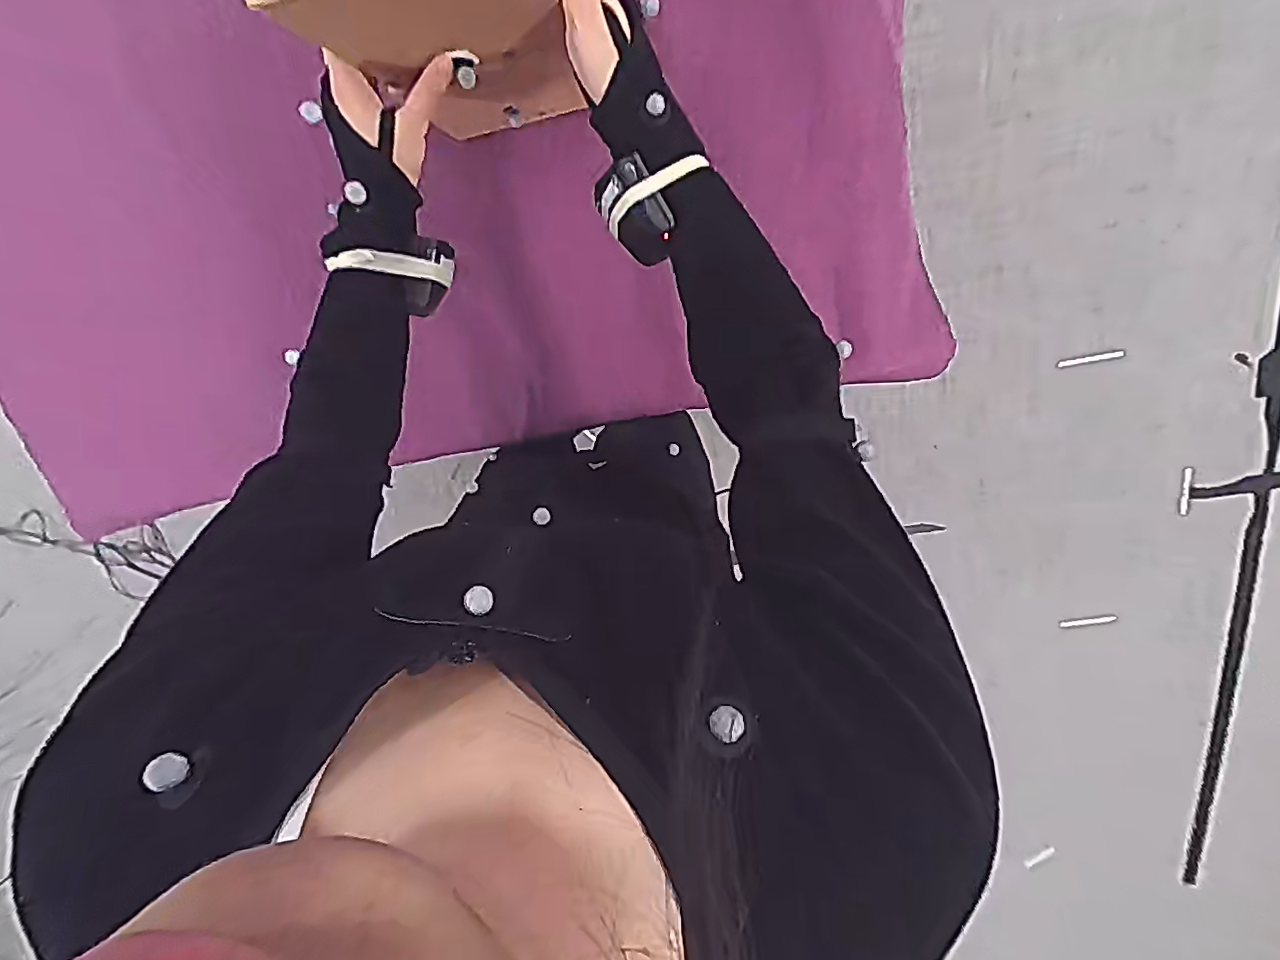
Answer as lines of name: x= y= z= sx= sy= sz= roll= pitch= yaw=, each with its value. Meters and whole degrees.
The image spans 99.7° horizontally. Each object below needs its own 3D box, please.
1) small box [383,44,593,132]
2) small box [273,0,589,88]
small box: x=-0.148 y=-0.457 z=0.503 sx=0.168 sy=0.176 sz=0.179 roll=-9 pitch=111 yaw=7
small box: x=-0.138 y=-0.383 z=0.335 sx=0.168 sy=0.176 sz=0.179 roll=-4 pitch=111 yaw=11
